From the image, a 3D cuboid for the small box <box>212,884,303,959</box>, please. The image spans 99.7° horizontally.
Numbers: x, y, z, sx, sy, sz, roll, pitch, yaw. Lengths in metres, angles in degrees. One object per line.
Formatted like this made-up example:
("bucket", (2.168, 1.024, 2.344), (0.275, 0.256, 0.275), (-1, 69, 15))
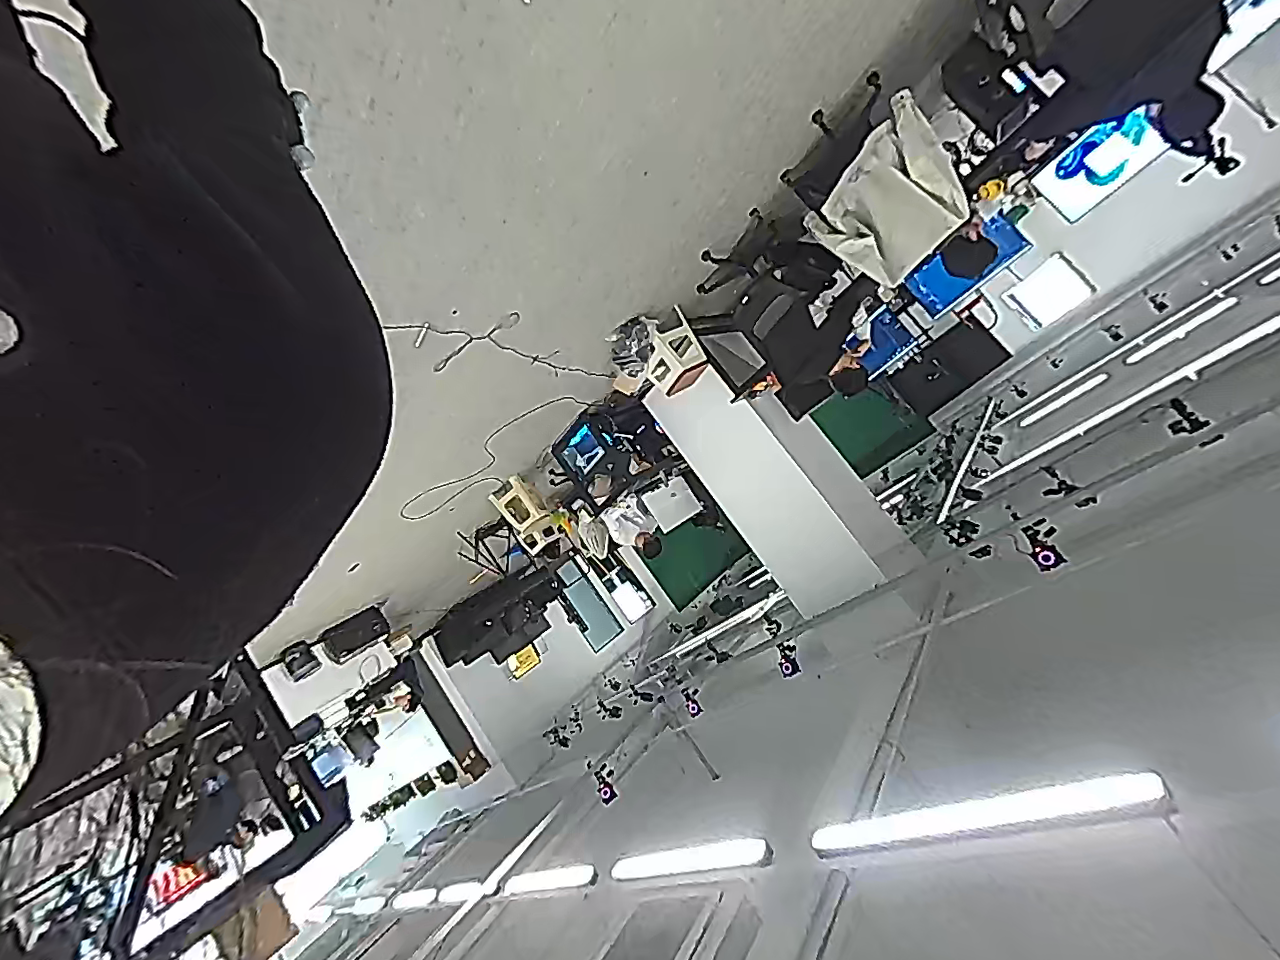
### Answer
("small box", (-1.157, 1.366, 1.628), (0.179, 0.176, 0.168), (-27, 169, -46))
